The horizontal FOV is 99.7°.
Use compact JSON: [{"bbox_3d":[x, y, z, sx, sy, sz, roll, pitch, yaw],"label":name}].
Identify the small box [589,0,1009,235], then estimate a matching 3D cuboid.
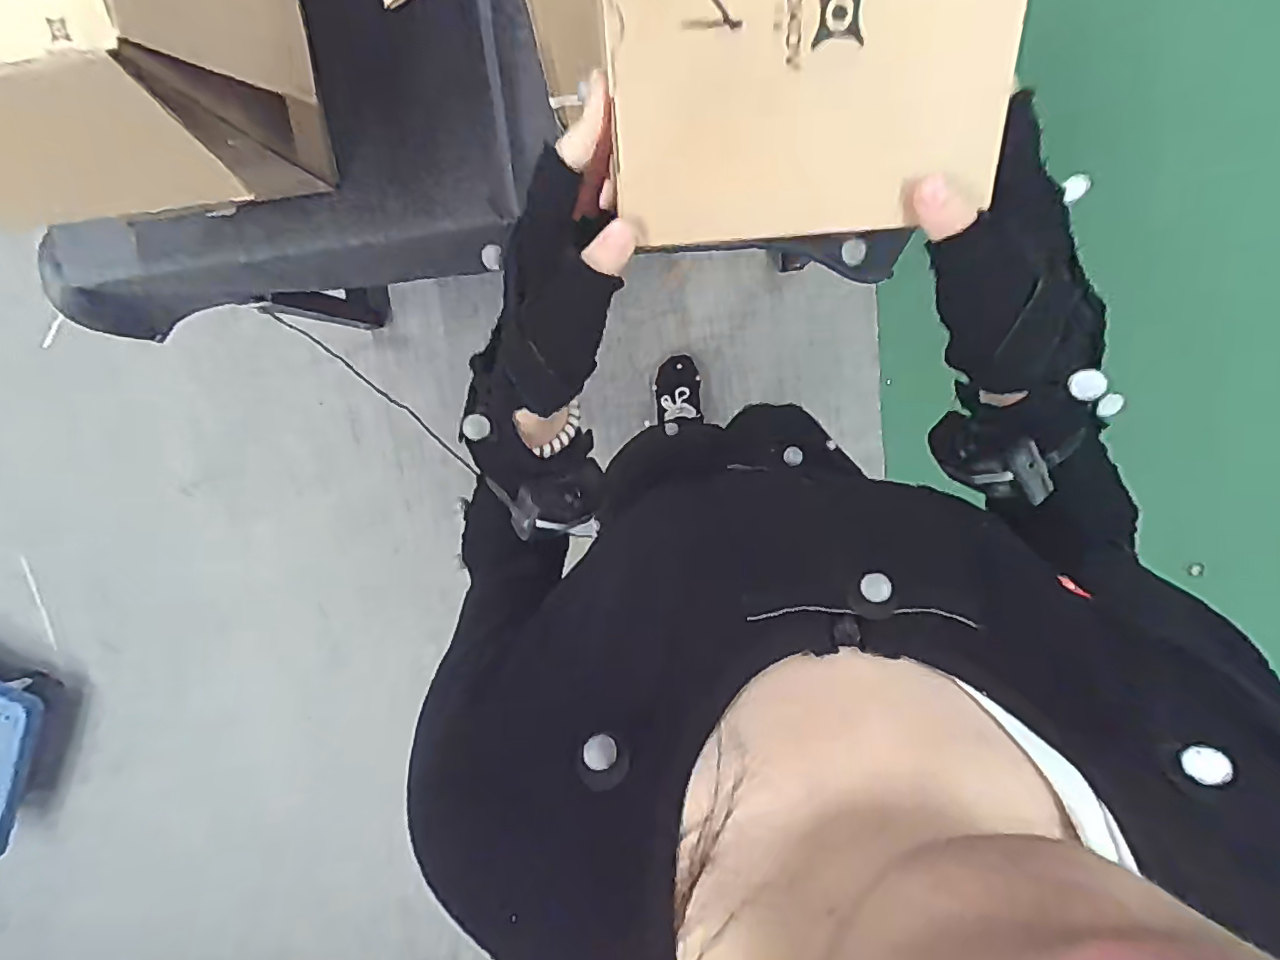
[{"bbox_3d":[0.064,-0.229,0.295,0.179,0.176,0.168,-4,115,-2],"label":"small box"}]
